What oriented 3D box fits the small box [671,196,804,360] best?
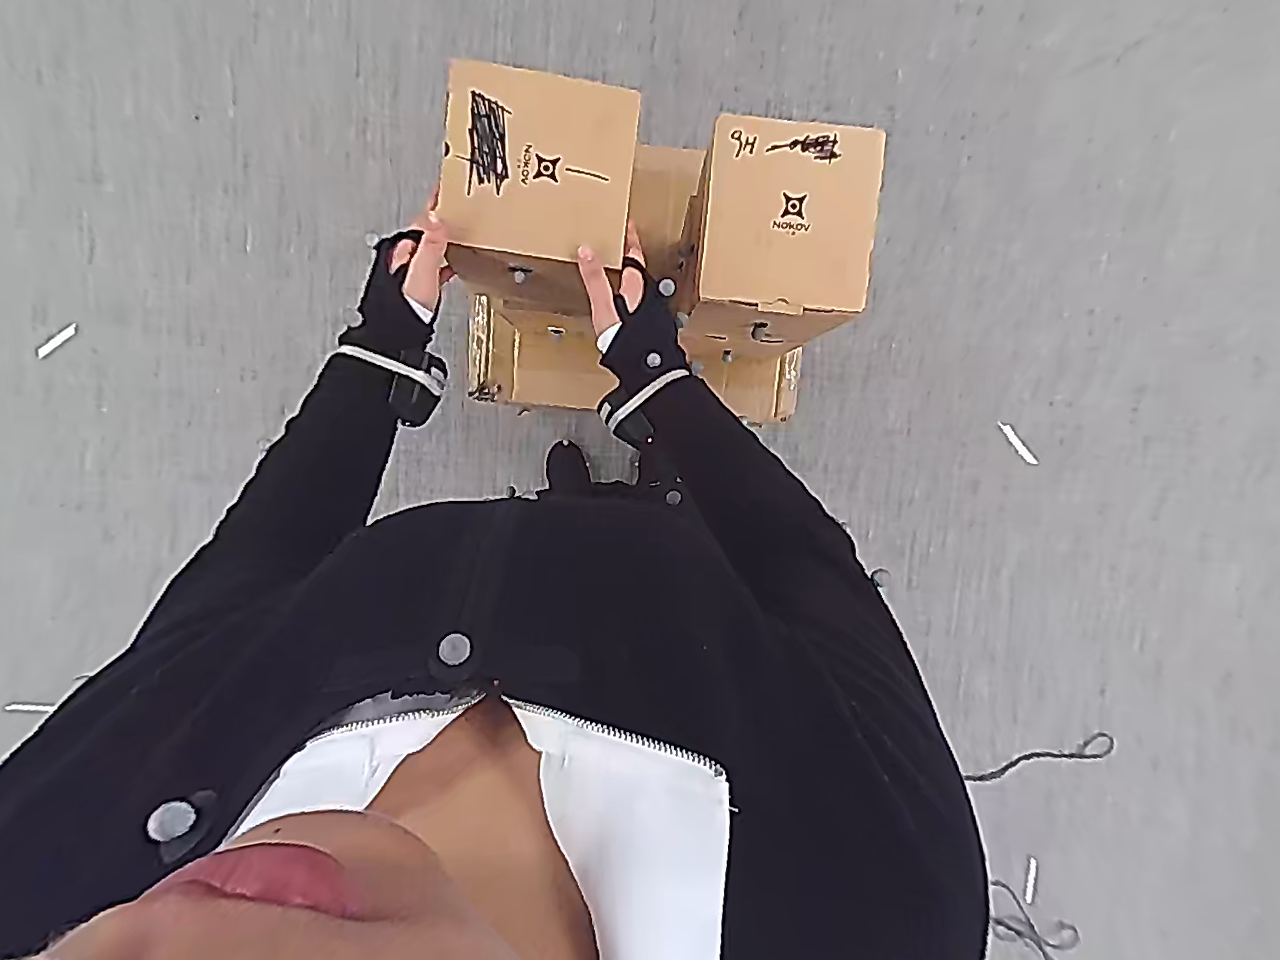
[{"bbox_3d":[0.135,-0.275,0.769,0.168,0.176,0.179,4,96,0],"label":"small box"}]

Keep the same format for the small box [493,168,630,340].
[{"bbox_3d":[-0.103,-0.304,0.761,0.168,0.176,0.179,4,96,-2],"label":"small box"}]

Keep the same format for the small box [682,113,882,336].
[{"bbox_3d":[0.141,-0.265,0.604,0.168,0.176,0.179,6,96,-2],"label":"small box"}]
